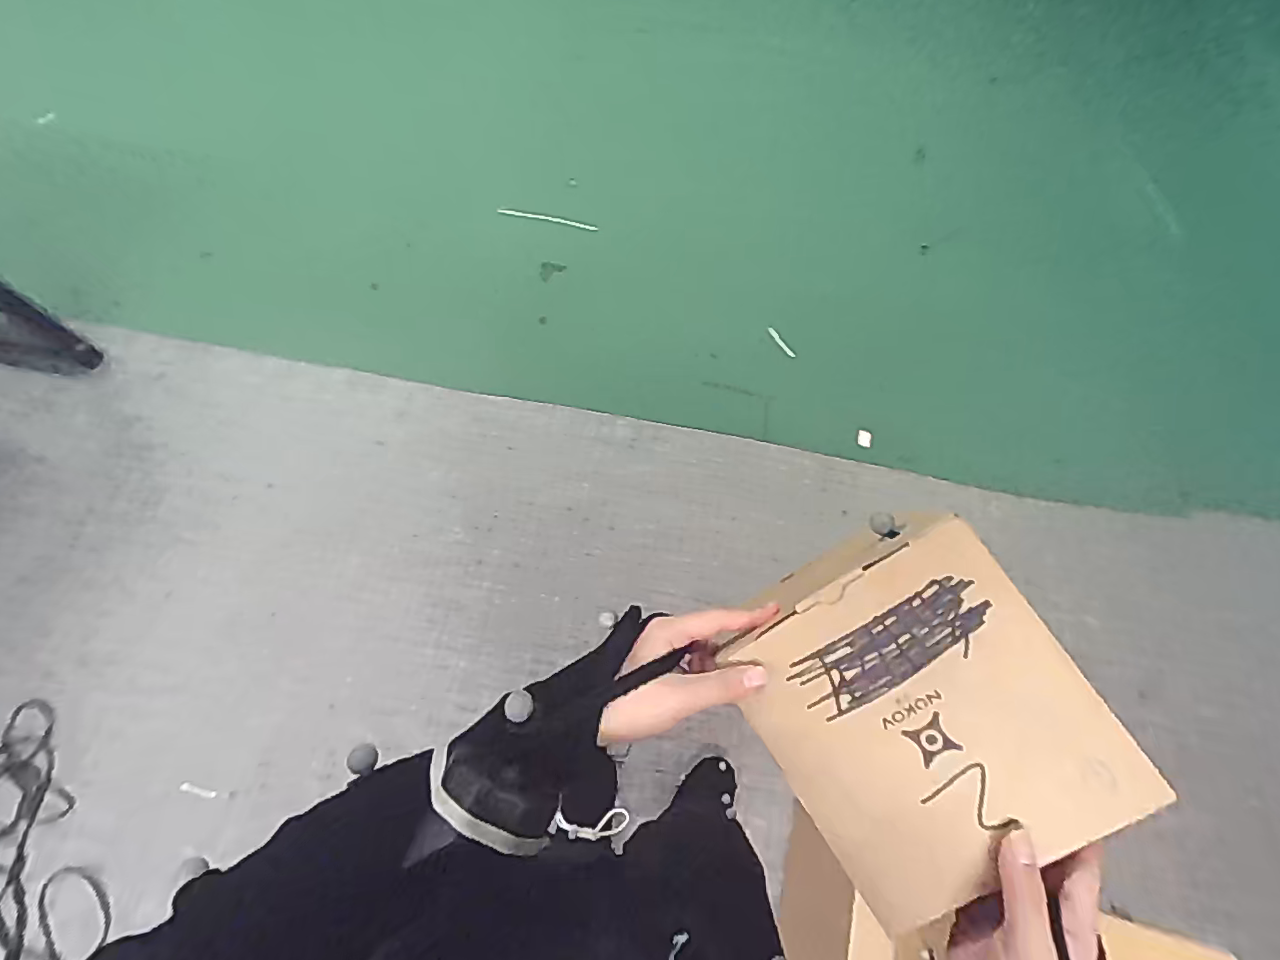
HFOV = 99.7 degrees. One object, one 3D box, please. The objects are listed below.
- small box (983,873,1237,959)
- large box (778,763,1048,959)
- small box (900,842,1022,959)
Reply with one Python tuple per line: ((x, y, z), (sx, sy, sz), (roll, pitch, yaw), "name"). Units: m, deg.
((0.518, 0.582, 0.607), (0.168, 0.176, 0.179), (17, 68, 1), "small box")
((0.464, 0.774, 0.962), (0.320, 0.320, 0.408), (16, 68, 3), "large box")
((0.488, 0.644, 0.755), (0.168, 0.176, 0.179), (18, 66, 1), "small box")
